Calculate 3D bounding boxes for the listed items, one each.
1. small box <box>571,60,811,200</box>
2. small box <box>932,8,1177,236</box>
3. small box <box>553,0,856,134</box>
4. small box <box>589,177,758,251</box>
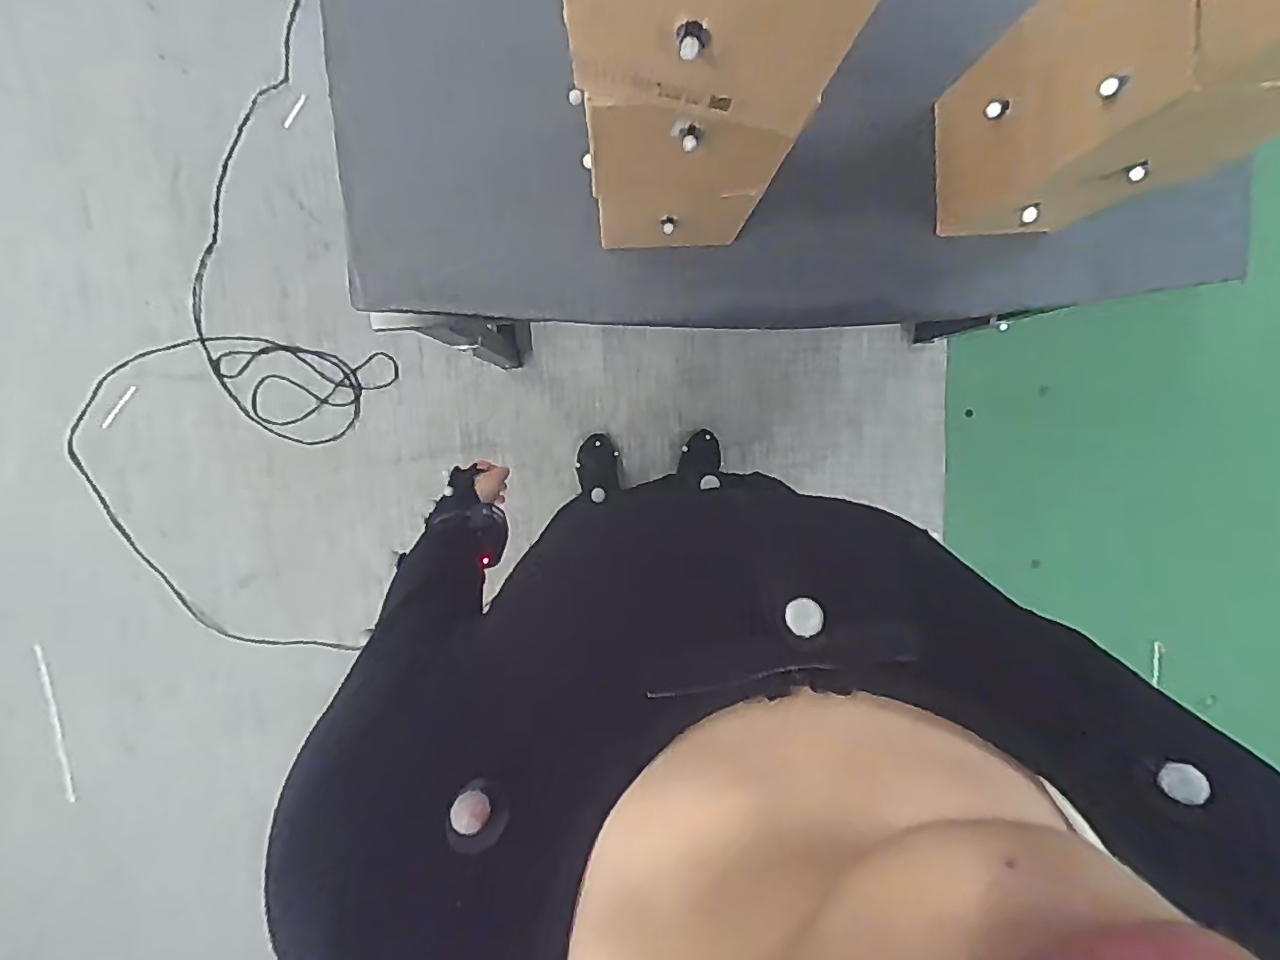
[{"bbox_3d":[0.033,-0.357,0.464,0.179,0.176,0.168,-2,96,-3],"label":"small box"},{"bbox_3d":[0.473,-0.404,0.643,0.168,0.176,0.179,-4,95,-2],"label":"small box"},{"bbox_3d":[0.045,-0.334,0.301,0.168,0.176,0.179,10,95,-4],"label":"small box"},{"bbox_3d":[0.029,-0.376,0.625,0.179,0.176,0.168,-3,95,-2],"label":"small box"}]
